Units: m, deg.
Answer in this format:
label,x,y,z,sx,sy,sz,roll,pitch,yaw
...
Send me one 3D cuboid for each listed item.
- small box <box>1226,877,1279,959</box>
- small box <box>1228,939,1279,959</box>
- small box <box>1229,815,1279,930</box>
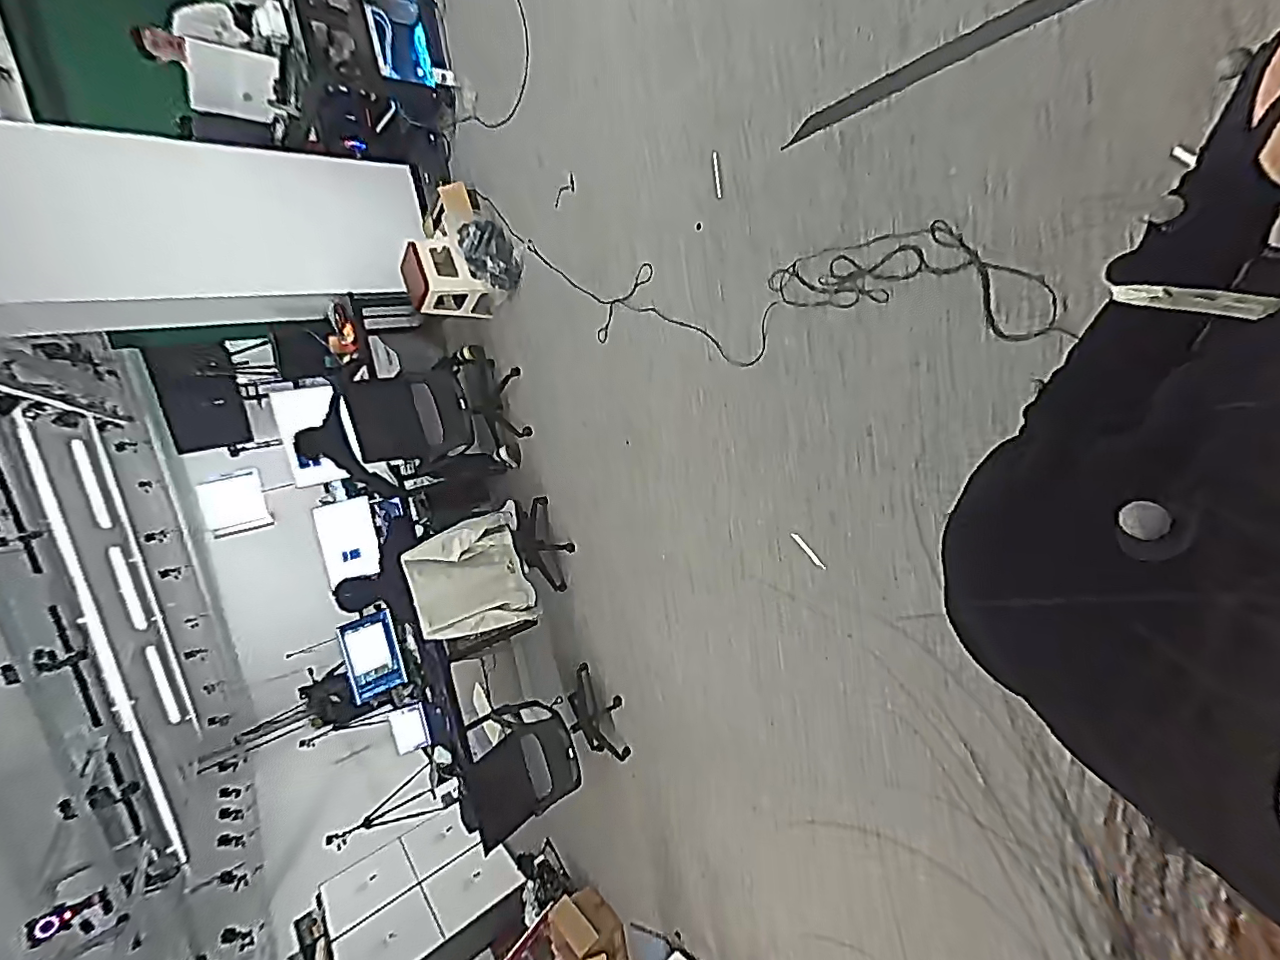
label,x,y,z,sx,sy,sz,roll,pitch,yaw
small box,1.056,0.783,0.842,0.179,0.176,0.168,15,115,49
small box,0.922,0.817,0.752,0.168,0.176,0.179,14,113,48
small box,1.179,0.737,0.937,0.179,0.176,0.168,19,118,47
